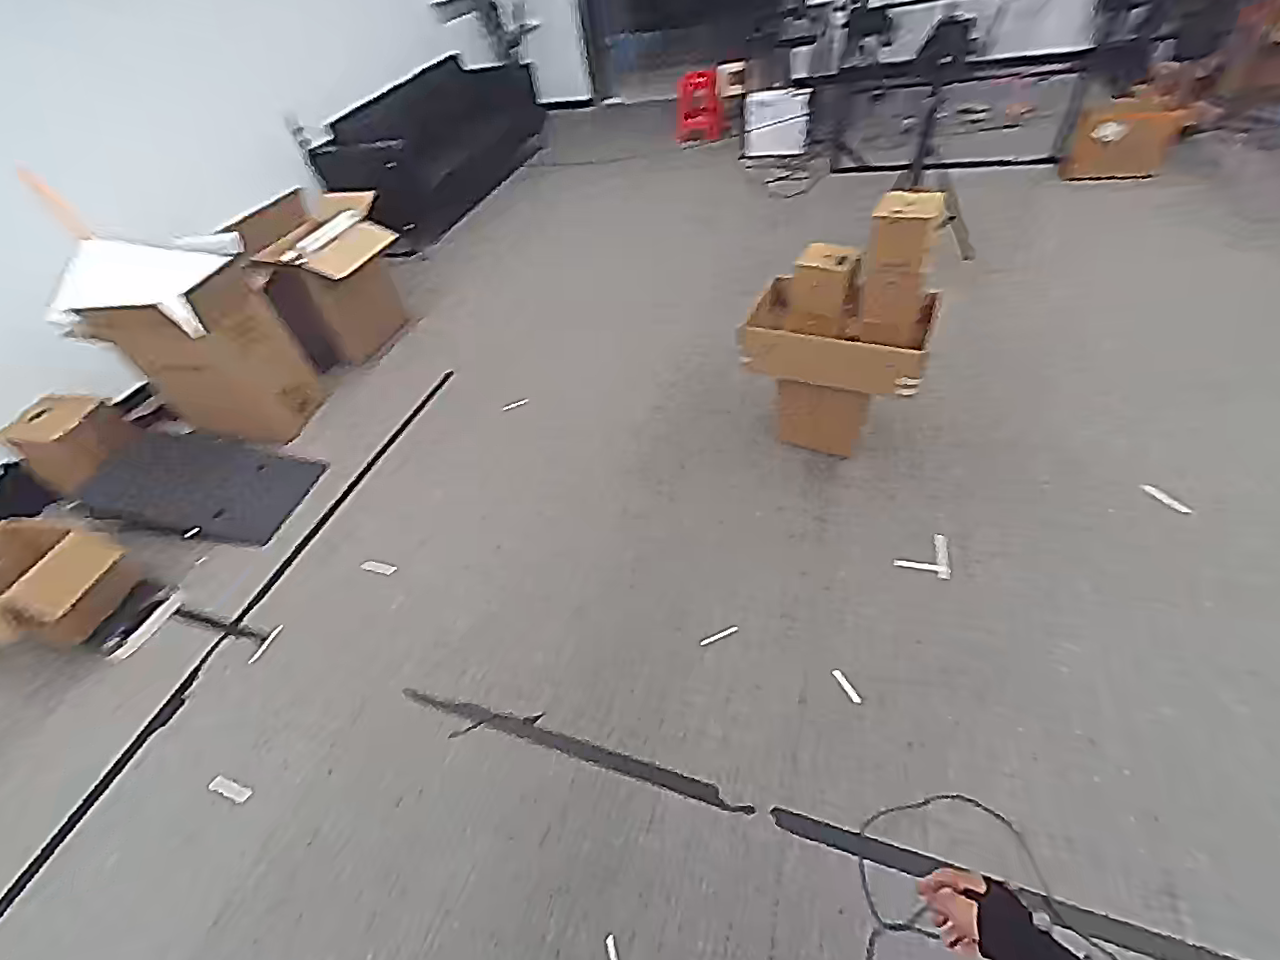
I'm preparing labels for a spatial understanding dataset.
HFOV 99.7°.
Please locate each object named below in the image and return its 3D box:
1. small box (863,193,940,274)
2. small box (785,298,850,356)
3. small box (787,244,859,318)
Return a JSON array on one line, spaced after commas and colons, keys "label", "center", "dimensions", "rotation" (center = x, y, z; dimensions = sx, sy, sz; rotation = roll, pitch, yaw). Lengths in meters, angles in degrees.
[{"label": "small box", "center": [0.782, -0.744, 1.629], "dimensions": [0.168, 0.176, 0.179], "rotation": [16, 52, 28]}, {"label": "small box", "center": [0.639, -0.570, 1.955], "dimensions": [0.179, 0.176, 0.168], "rotation": [18, 53, 25]}, {"label": "small box", "center": [0.615, -0.670, 1.828], "dimensions": [0.179, 0.176, 0.168], "rotation": [22, 55, 27]}]
